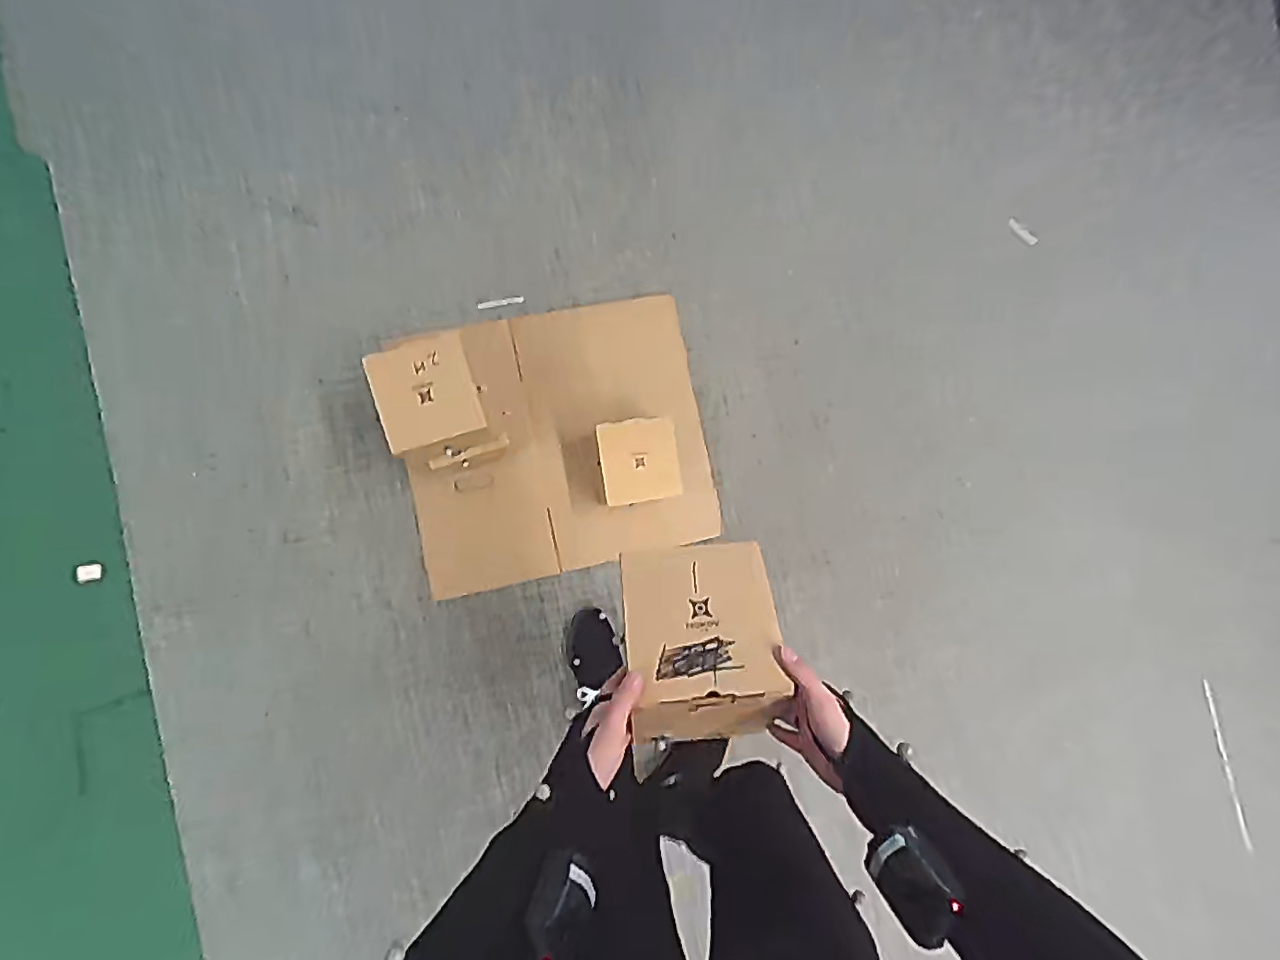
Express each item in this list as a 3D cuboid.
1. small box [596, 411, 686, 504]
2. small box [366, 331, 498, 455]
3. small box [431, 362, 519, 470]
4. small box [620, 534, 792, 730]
[{"bbox_3d":[-0.003,-0.044,1.202,0.168,0.176,0.179,-9,87,-7],"label":"small box"},{"bbox_3d":[-0.370,-0.149,0.997,0.168,0.176,0.179,-18,89,-9],"label":"small box"},{"bbox_3d":[-0.369,-0.130,1.163,0.168,0.176,0.179,-19,89,-8],"label":"small box"},{"bbox_3d":[0.066,0.186,0.641,0.168,0.176,0.179,-4,51,-2],"label":"small box"}]
